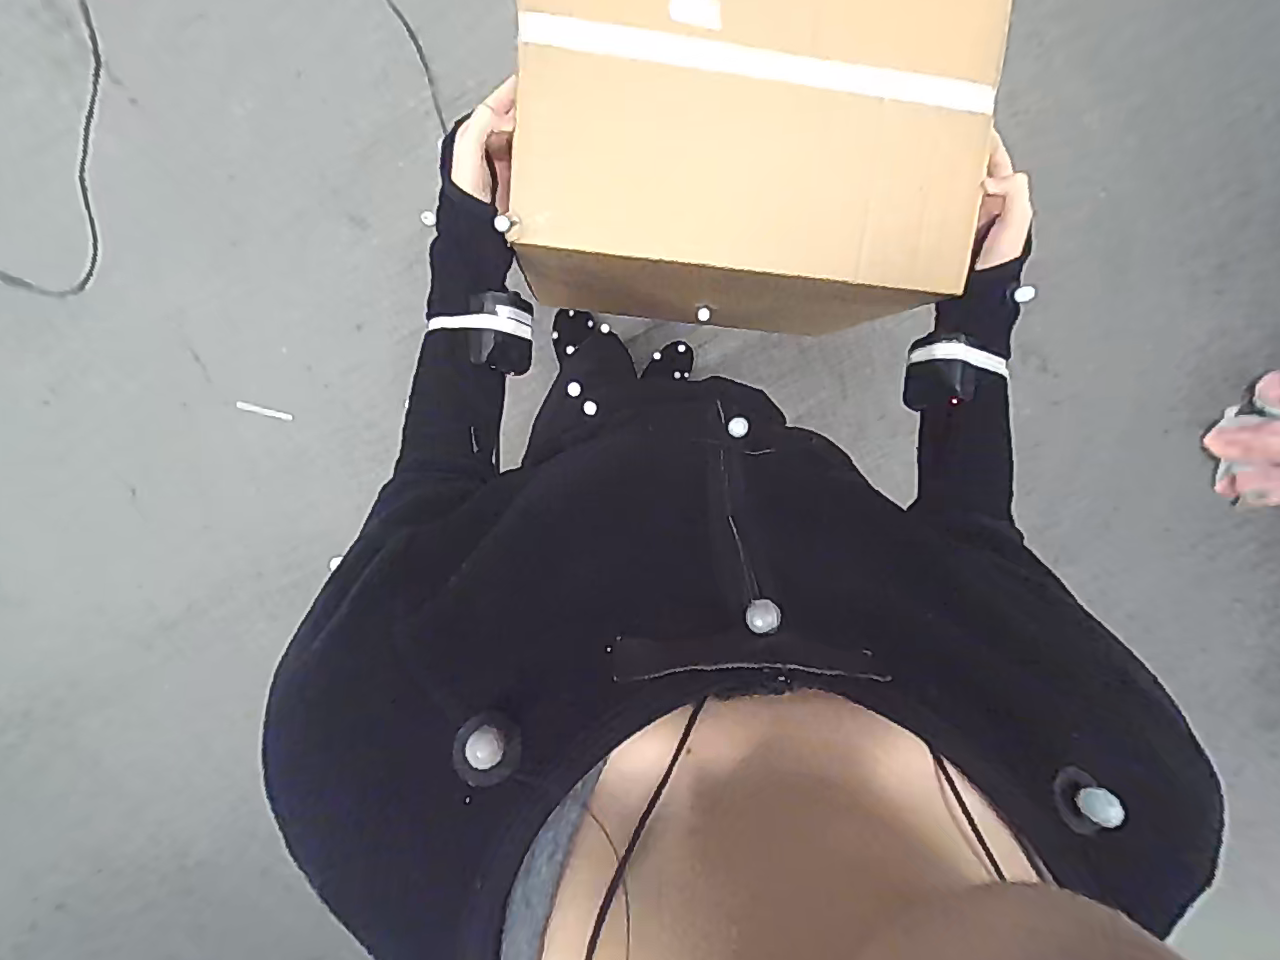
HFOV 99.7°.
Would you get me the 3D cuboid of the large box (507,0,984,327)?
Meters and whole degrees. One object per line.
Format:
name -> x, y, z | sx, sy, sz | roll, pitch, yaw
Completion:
large box -> 0.082, -0.356, 0.605 | 0.408, 0.320, 0.320 | 3, 97, -5
